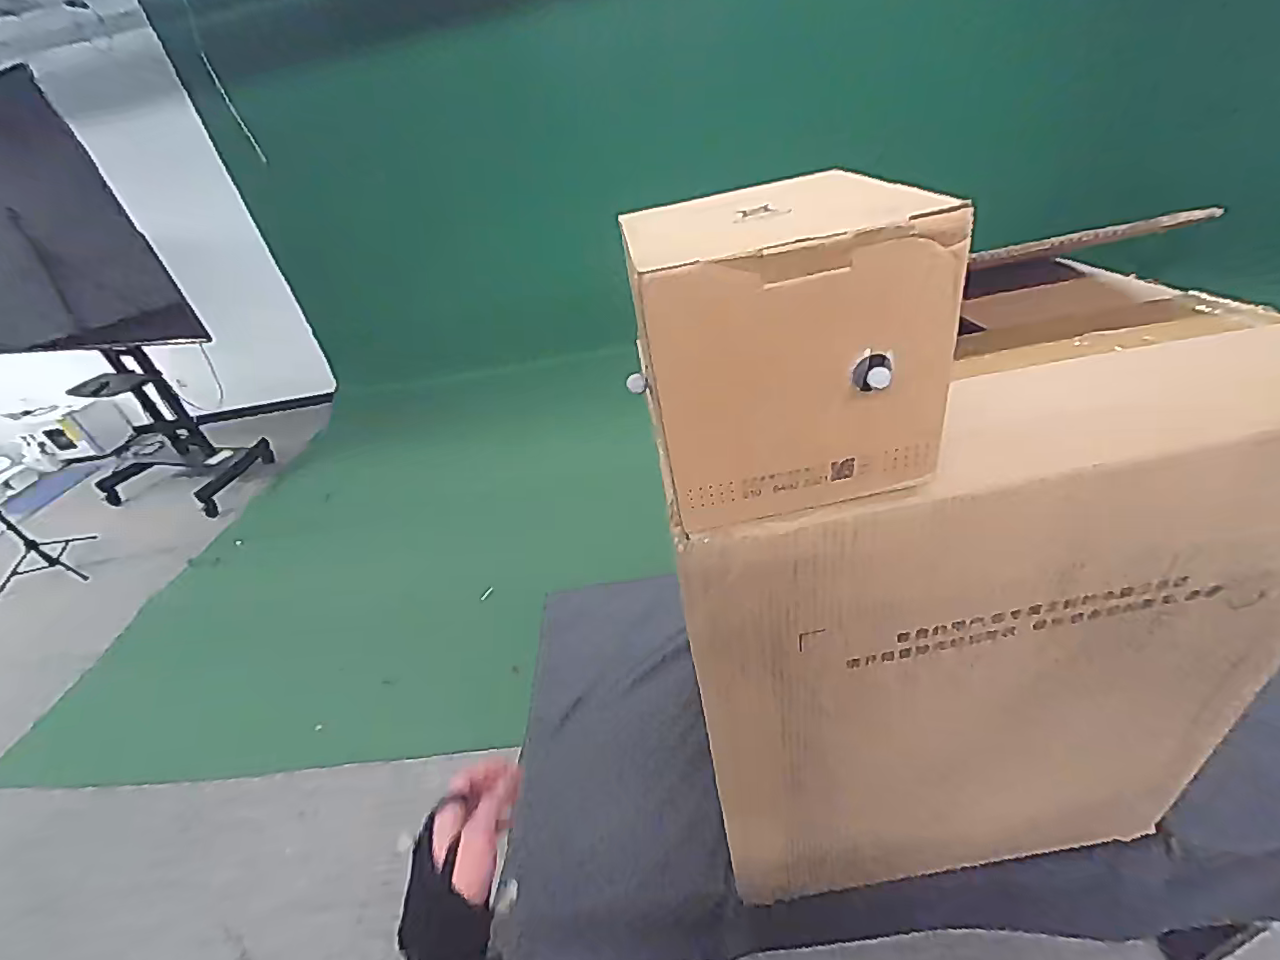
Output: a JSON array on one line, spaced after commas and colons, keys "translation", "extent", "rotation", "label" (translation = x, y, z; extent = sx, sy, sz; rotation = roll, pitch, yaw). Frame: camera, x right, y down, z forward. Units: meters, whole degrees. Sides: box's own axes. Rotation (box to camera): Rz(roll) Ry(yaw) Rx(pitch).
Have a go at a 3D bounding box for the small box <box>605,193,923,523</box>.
[{"translation": [0.074, -0.085, 0.385], "extent": [0.168, 0.176, 0.179], "rotation": [-11, 33, 2], "label": "small box"}]
